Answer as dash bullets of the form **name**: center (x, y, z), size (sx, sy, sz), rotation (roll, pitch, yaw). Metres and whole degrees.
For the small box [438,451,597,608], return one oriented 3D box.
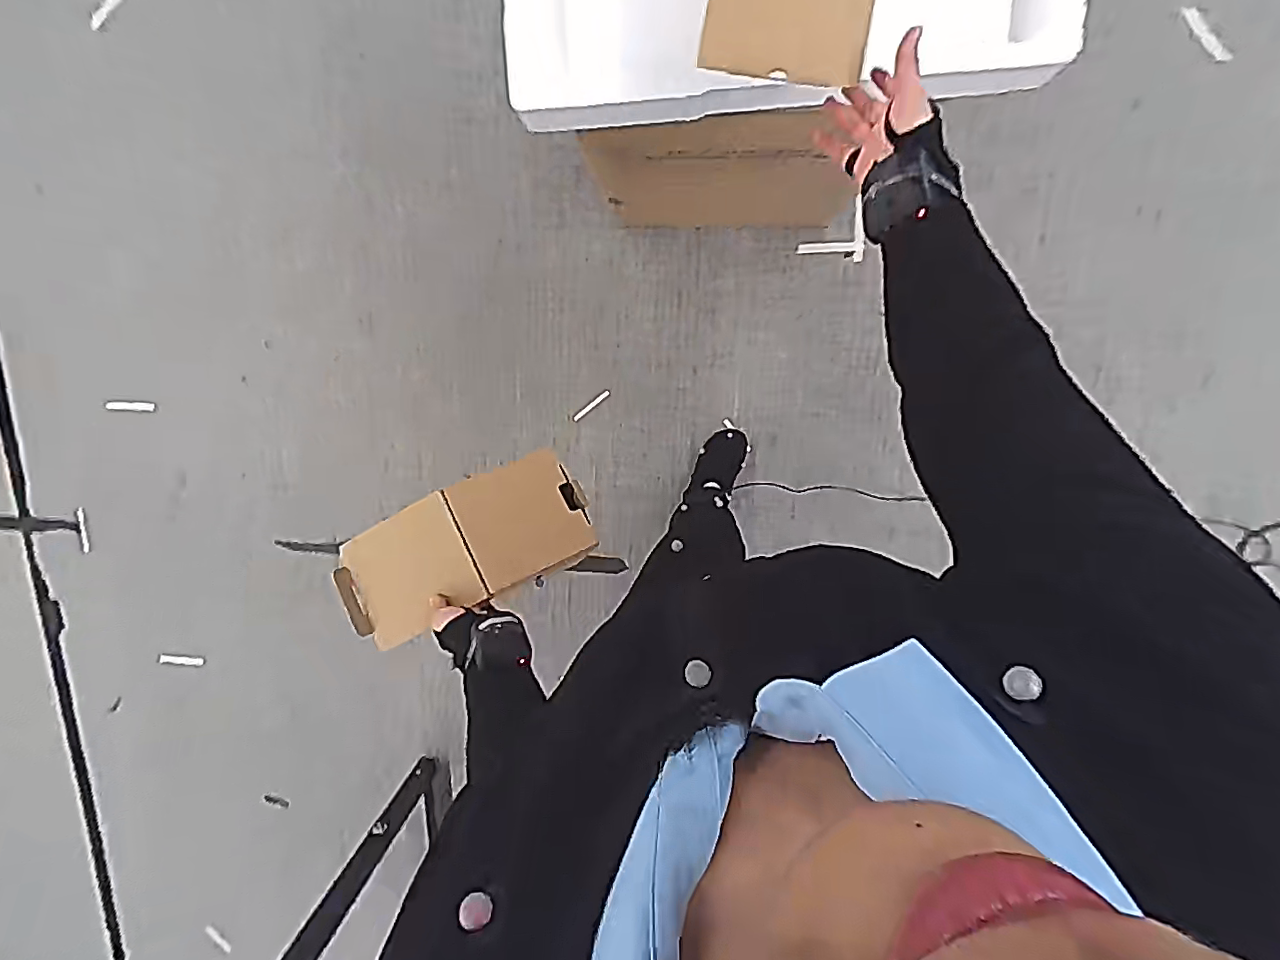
- **small box**: center (-0.193, 0.082, 0.831), size (0.179, 0.176, 0.168), rotation (-24, 80, -26)
